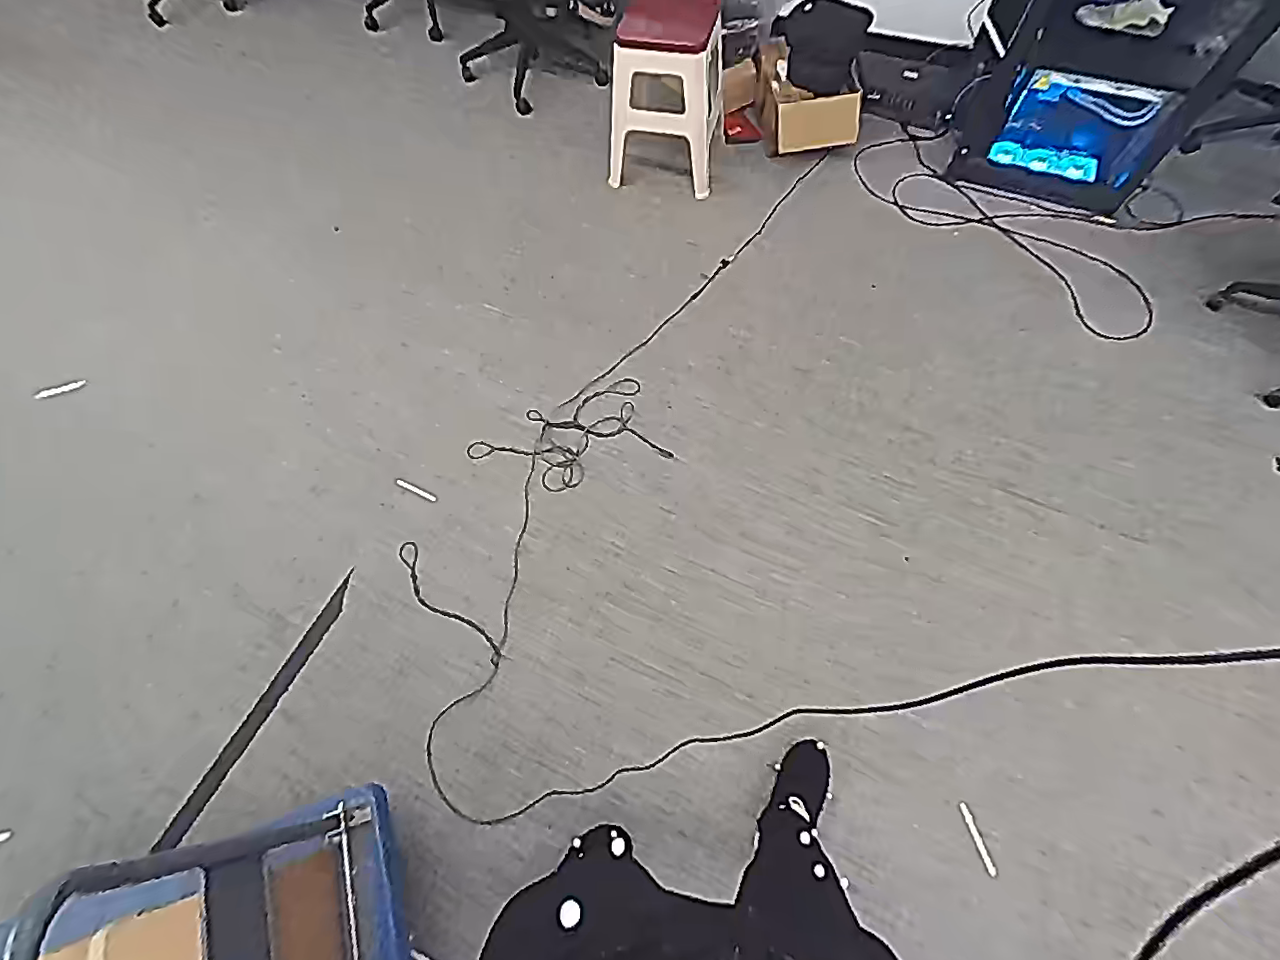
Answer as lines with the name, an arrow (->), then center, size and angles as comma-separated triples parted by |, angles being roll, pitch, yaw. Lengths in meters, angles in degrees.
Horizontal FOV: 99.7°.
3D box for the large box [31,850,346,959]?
large box -> -0.673, 0.870, 0.822 | 0.320, 0.320, 0.408 | -19, 65, -7
